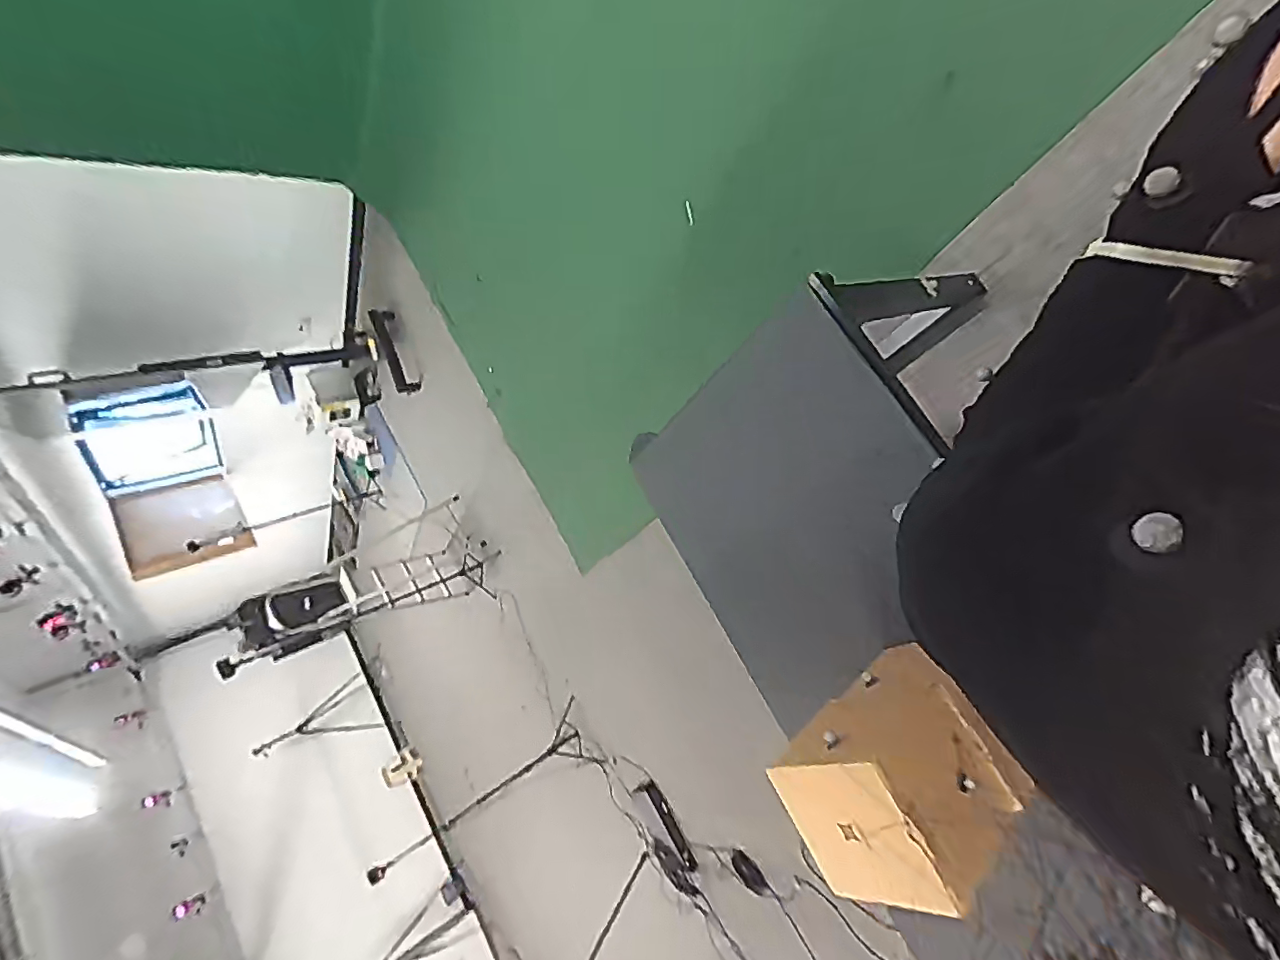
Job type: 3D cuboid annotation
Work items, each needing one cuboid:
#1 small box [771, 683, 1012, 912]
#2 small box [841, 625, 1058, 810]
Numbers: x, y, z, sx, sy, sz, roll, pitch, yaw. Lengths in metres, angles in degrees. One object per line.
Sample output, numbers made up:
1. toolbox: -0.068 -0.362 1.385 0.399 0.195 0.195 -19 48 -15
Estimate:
1. small box: 0.304 0.373 0.663 0.179 0.176 0.168 -43 71 49
2. small box: 0.429 0.327 0.755 0.168 0.176 0.179 60 141 12
